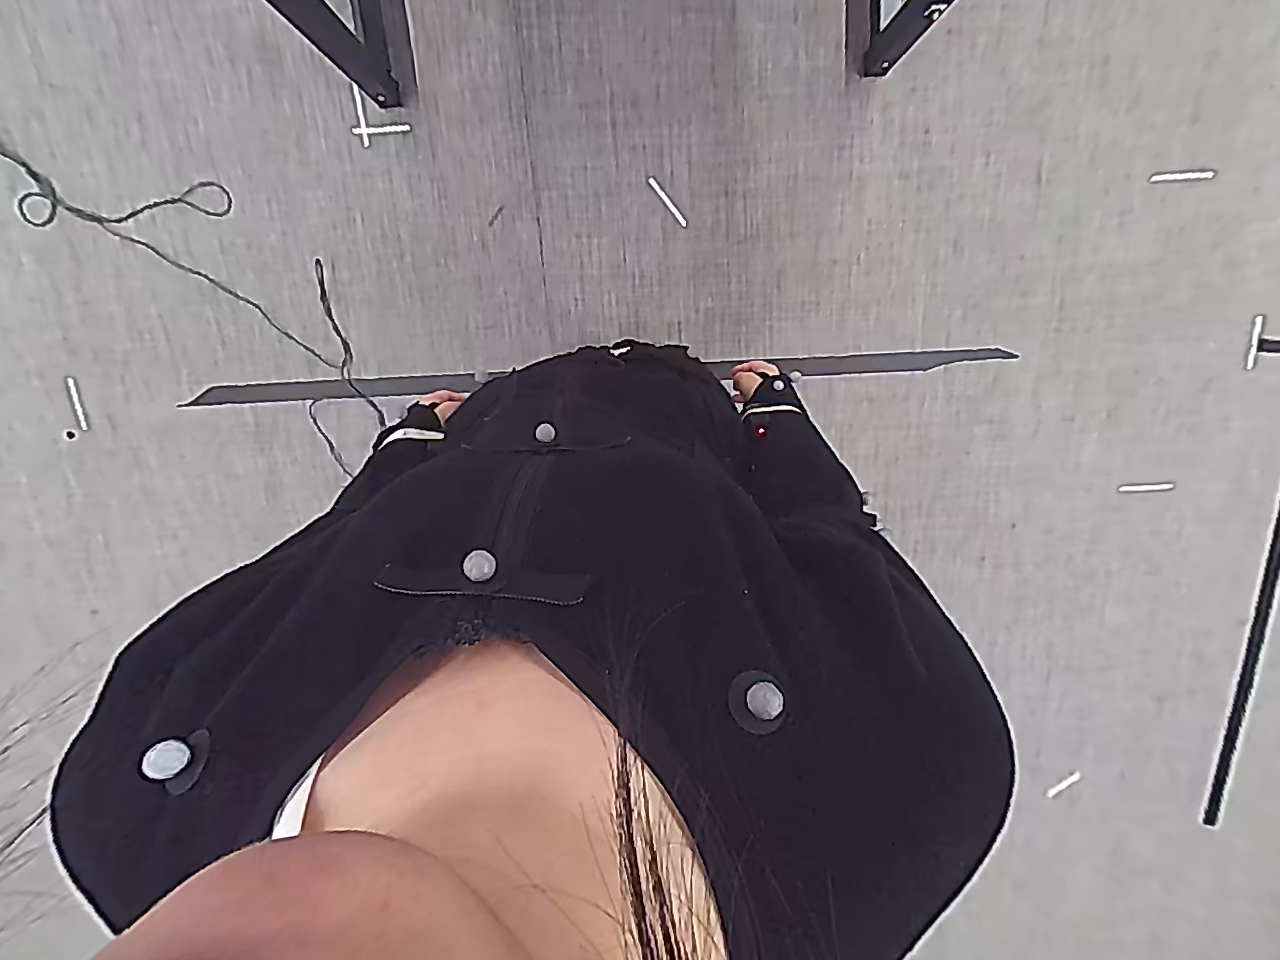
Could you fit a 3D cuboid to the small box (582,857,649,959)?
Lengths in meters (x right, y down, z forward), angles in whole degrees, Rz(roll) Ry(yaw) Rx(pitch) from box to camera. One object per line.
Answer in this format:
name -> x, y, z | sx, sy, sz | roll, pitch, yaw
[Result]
small box -> -0.065, 1.207, 1.517 | 0.168, 0.176, 0.179 | -8, 104, 0
